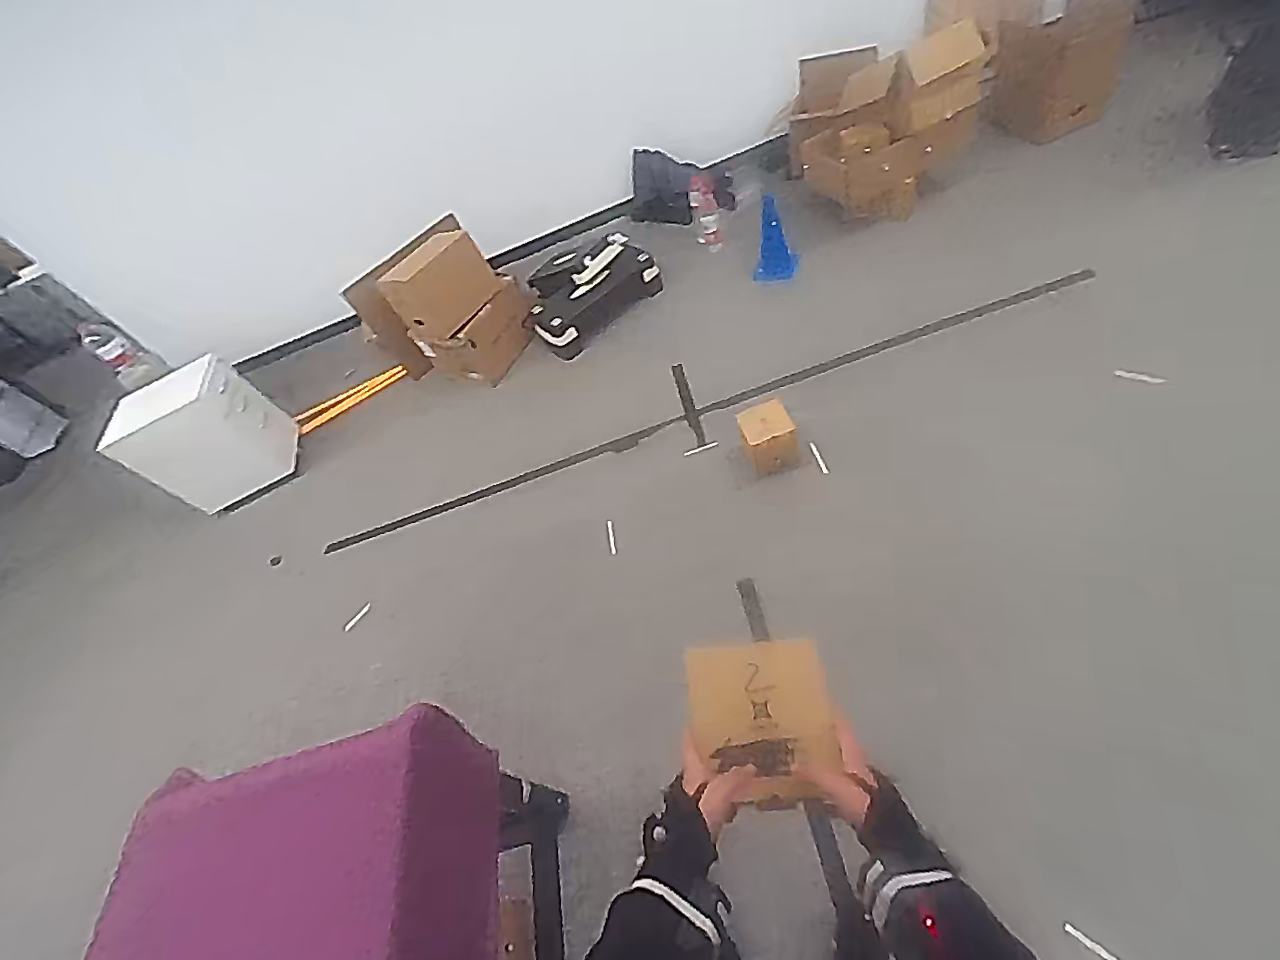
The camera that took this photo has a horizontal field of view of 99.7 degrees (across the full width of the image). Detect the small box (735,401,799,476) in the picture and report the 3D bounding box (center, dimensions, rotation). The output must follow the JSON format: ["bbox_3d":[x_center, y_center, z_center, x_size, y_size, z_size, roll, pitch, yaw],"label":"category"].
[{"bbox_3d":[0.458,-0.146,1.945,0.168,0.176,0.179,-22,50,5],"label":"small box"}]
